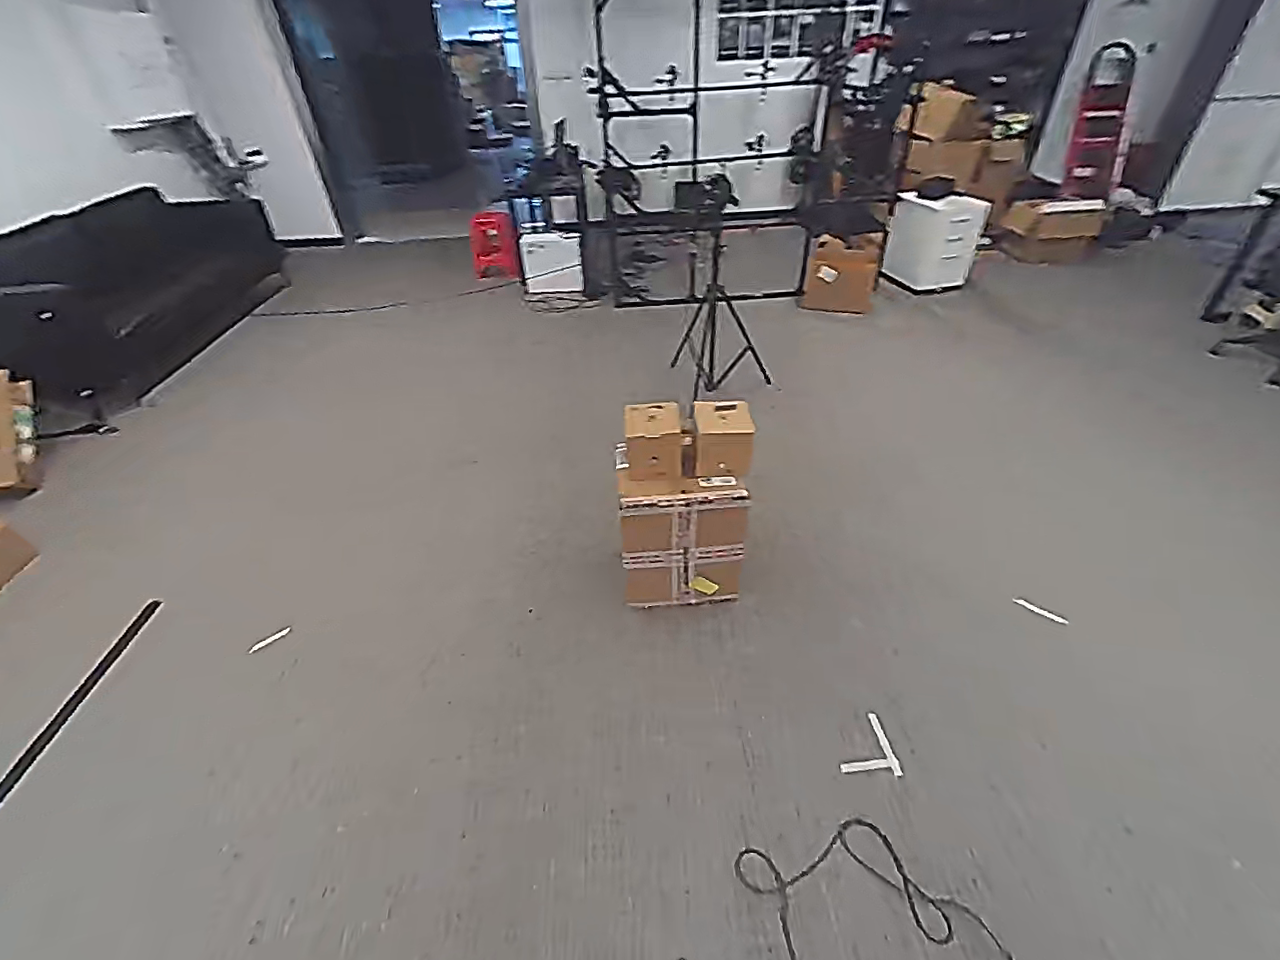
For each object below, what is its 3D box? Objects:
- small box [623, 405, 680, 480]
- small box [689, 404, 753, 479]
[{"bbox_3d":[0.036,-0.112,1.685,0.168,0.176,0.179,-4,41,2],"label":"small box"},{"bbox_3d":[0.246,-0.120,1.684,0.168,0.176,0.179,-1,40,-1],"label":"small box"}]
